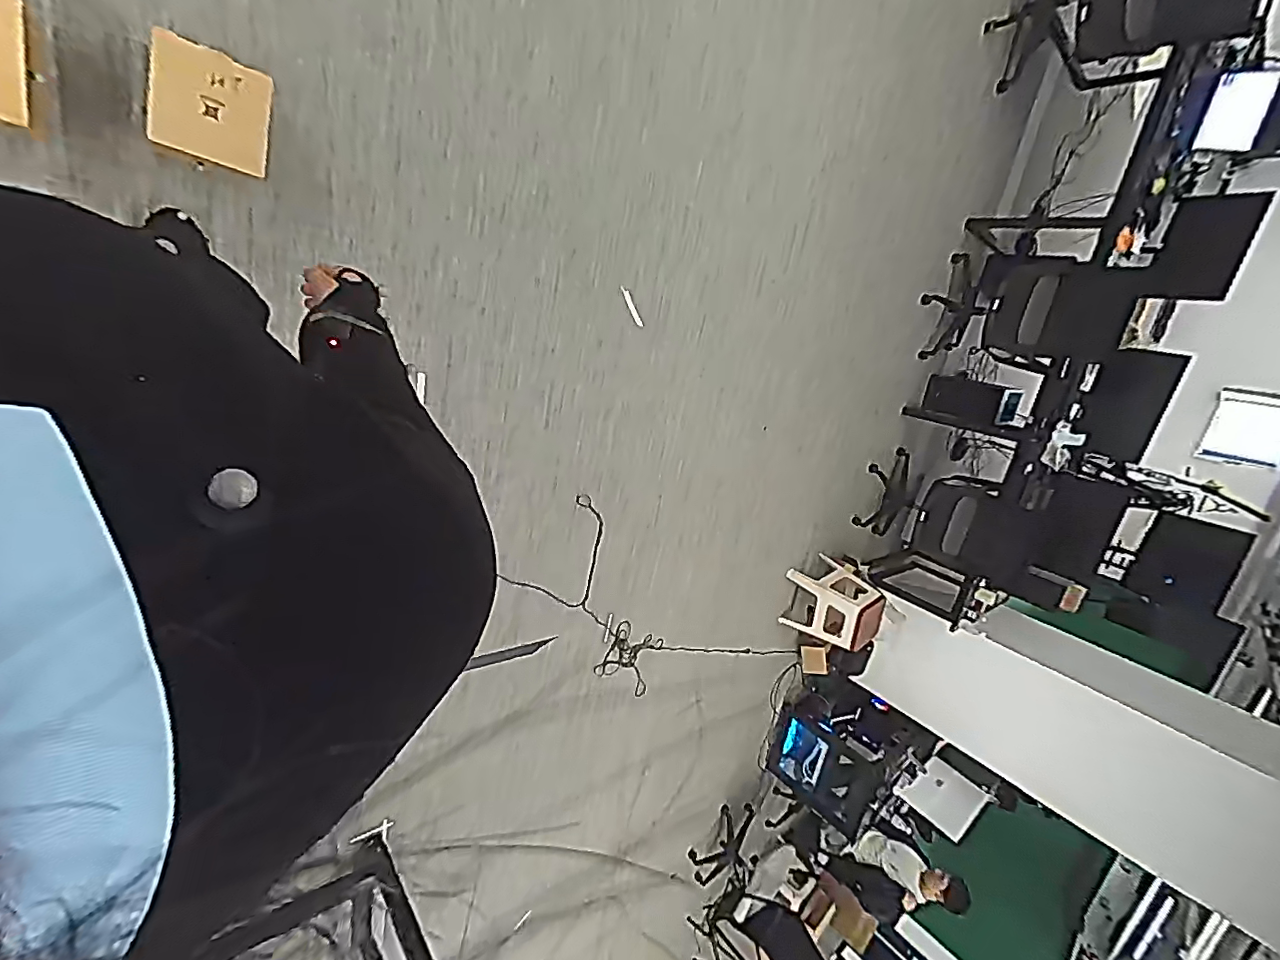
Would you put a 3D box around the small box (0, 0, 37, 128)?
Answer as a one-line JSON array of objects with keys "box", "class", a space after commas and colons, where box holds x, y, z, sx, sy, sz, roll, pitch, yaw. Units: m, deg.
[{"box": [-1.019, -0.652, 0.793, 0.168, 0.176, 0.179, -1, 110, -43], "class": "small box"}]

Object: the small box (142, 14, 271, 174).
[{"box": [-0.794, -0.683, 0.987, 0.168, 0.176, 0.179, 3, 107, -45], "class": "small box"}]
